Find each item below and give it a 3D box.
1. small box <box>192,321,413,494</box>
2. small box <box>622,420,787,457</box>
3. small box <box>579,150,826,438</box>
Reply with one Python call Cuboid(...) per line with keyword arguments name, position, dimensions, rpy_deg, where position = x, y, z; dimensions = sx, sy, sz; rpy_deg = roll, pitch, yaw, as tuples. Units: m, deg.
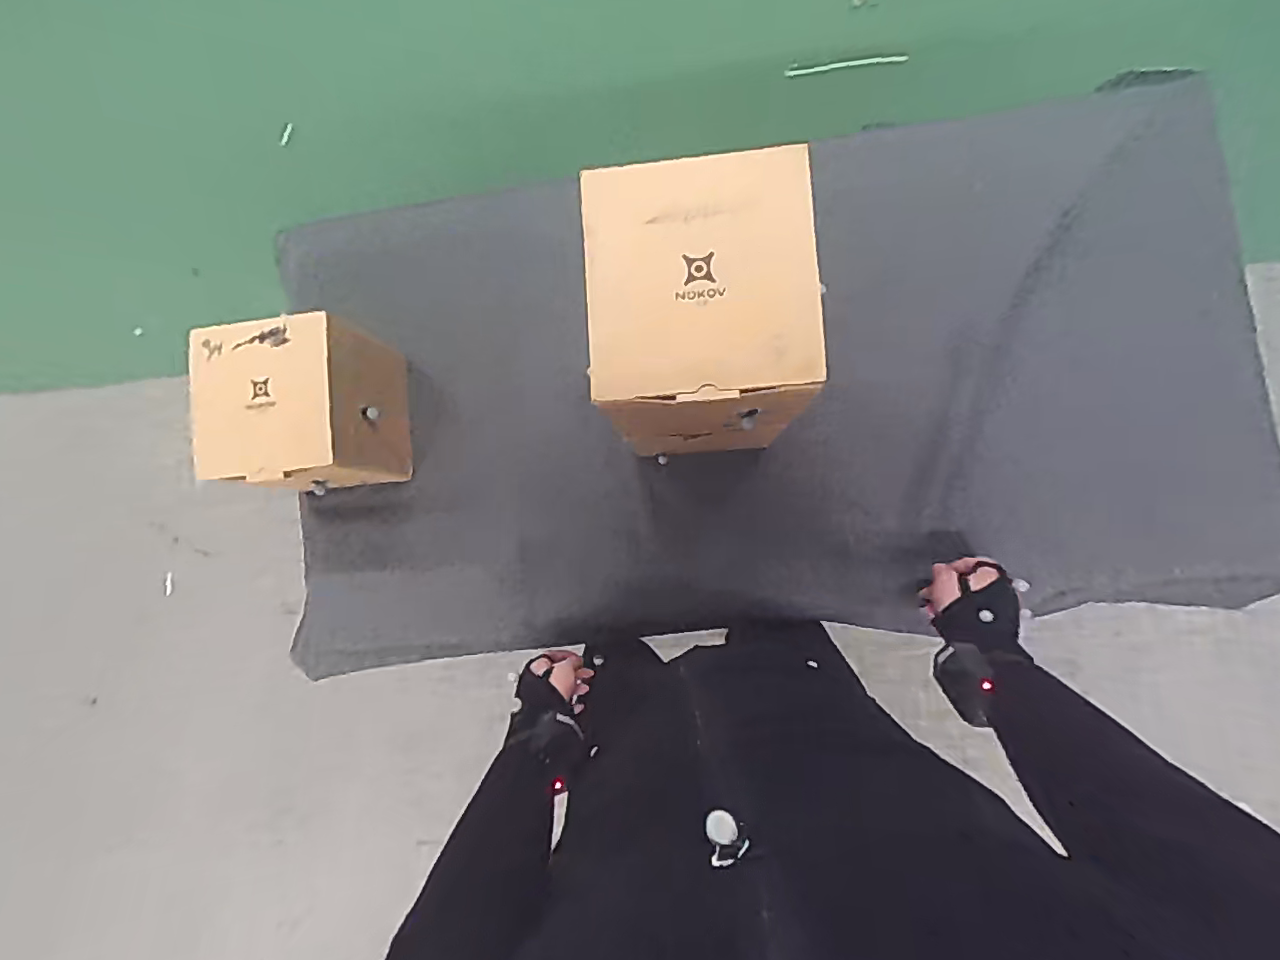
Cuboid(name="small box", position=(-0.400, -0.076, 0.668), dimensions=(0.168, 0.176, 0.179), rpy_deg=(-6, 86, 5))
Cuboid(name="small box", position=(0.068, -0.122, 0.619), dimensions=(0.168, 0.176, 0.179), rpy_deg=(-5, 85, 6))
Cuboid(name="small box", position=(0.049, -0.134, 0.459), dimensions=(0.168, 0.176, 0.179), rpy_deg=(-5, 84, 5))
